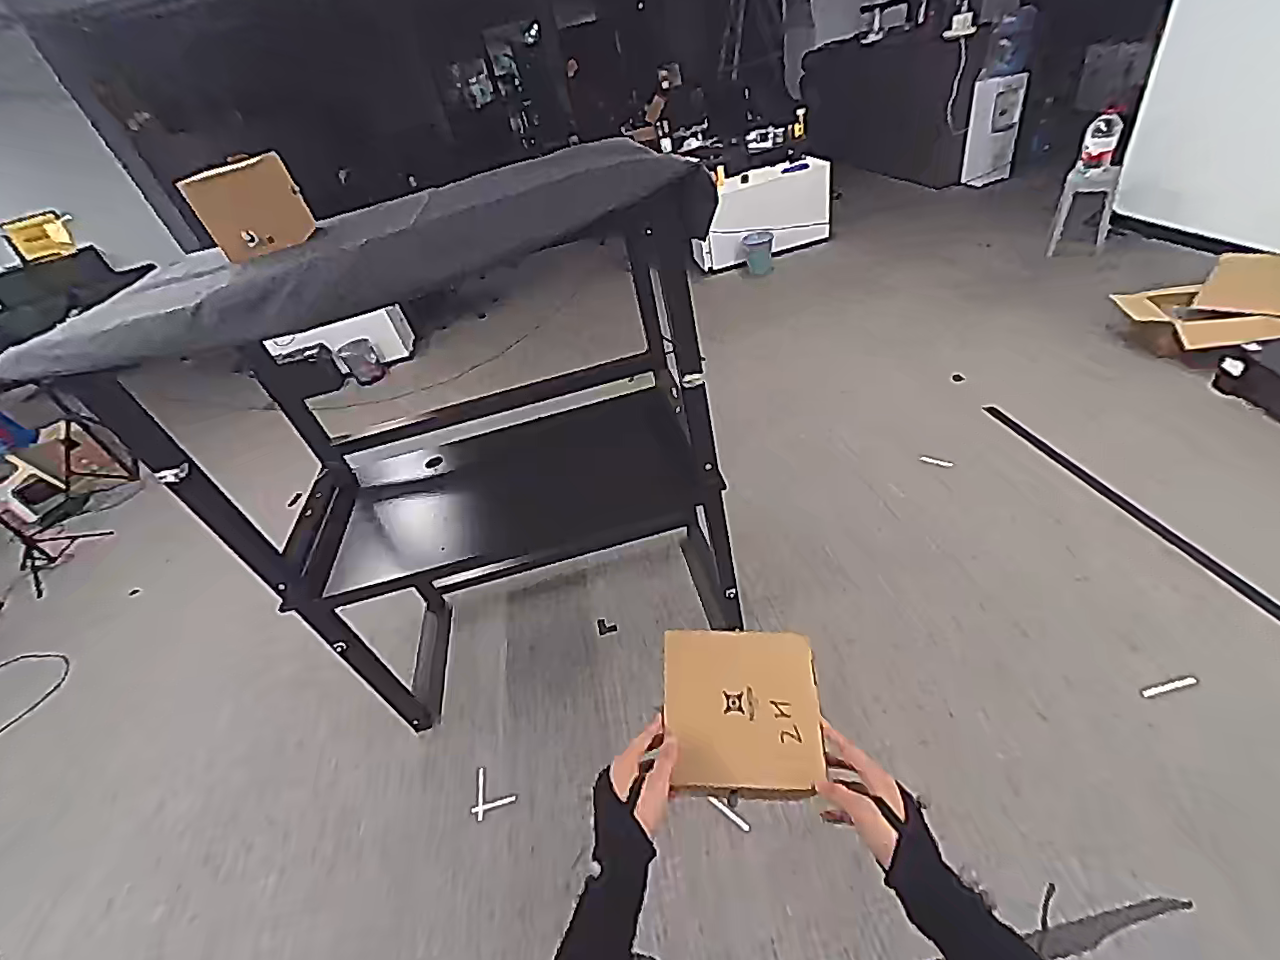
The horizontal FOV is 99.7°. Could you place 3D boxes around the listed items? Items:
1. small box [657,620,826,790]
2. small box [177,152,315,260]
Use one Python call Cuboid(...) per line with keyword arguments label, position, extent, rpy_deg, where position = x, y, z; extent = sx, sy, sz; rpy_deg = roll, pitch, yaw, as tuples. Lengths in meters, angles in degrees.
Cuboid(label="small box", position=(0.111, 0.282, 0.667), extent=(0.179, 0.176, 0.168), rpy_deg=(1, 57, 3))
Cuboid(label="small box", position=(-0.863, -0.612, 1.210), extent=(0.168, 0.176, 0.179), rpy_deg=(-20, 39, -4))
